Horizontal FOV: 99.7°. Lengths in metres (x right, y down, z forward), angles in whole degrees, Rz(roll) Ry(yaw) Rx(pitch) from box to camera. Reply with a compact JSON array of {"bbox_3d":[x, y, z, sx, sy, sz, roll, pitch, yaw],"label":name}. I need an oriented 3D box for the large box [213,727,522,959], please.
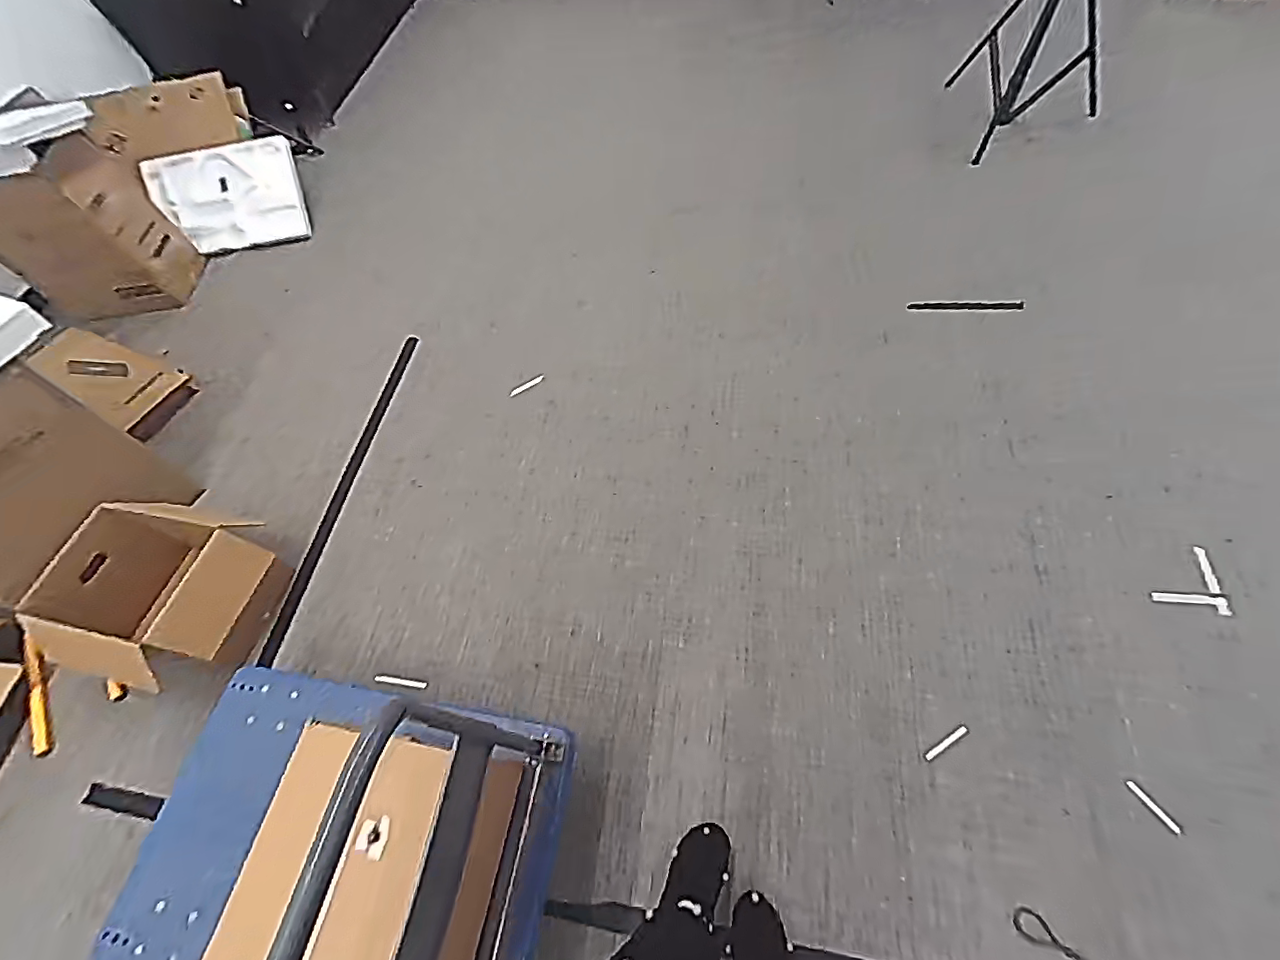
[{"bbox_3d":[-0.446,0.697,0.959,0.320,0.320,0.408,6,60,10],"label":"large box"}]
